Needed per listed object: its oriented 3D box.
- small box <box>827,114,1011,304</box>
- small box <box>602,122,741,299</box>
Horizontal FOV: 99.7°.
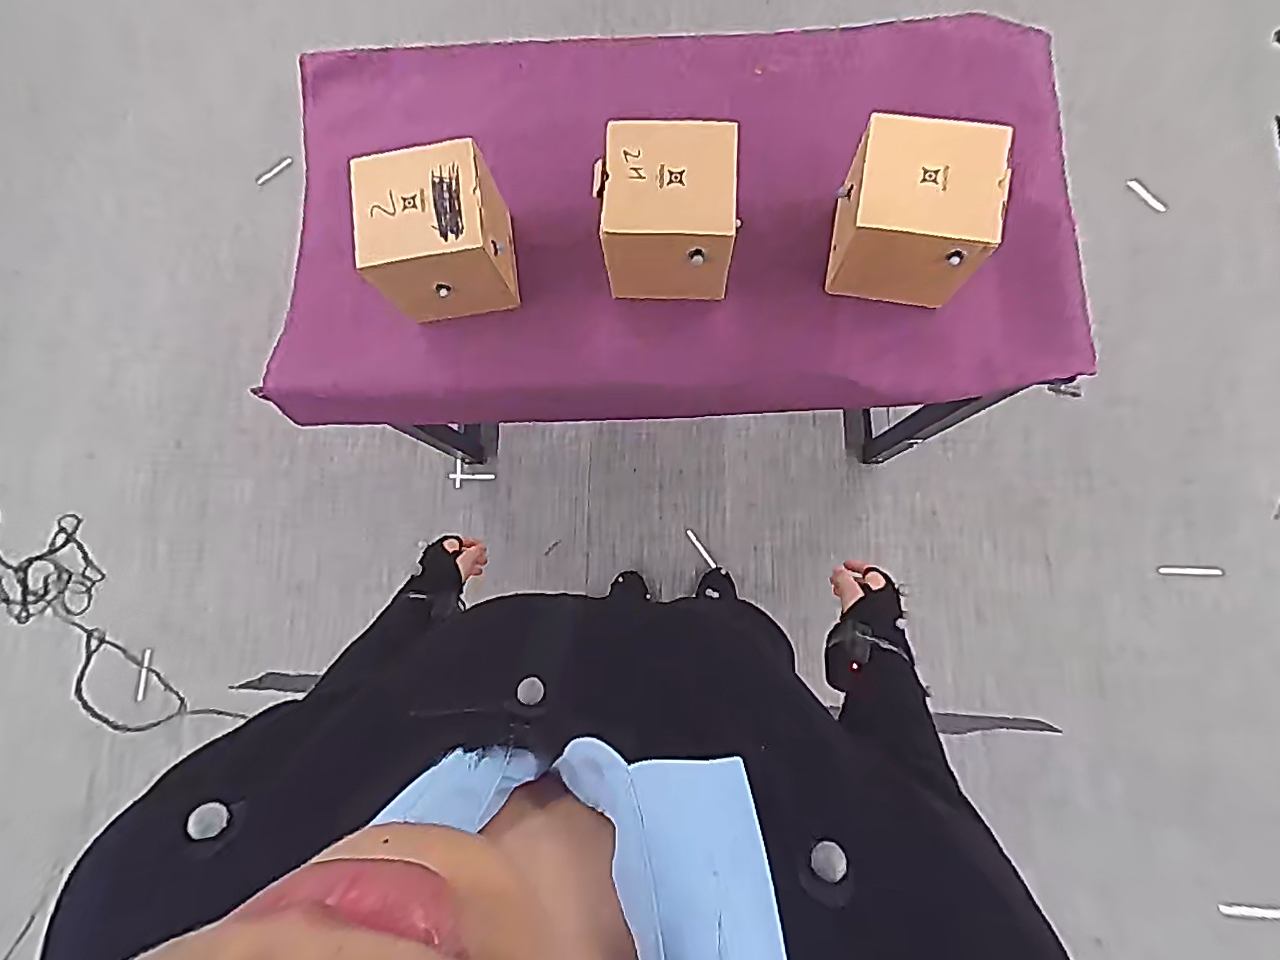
[{"bbox_3d":[0.375,-0.367,0.756,0.179,0.176,0.168,10,81,6],"label":"small box"},{"bbox_3d":[0.046,-0.377,0.780,0.179,0.176,0.168,2,80,4],"label":"small box"}]
